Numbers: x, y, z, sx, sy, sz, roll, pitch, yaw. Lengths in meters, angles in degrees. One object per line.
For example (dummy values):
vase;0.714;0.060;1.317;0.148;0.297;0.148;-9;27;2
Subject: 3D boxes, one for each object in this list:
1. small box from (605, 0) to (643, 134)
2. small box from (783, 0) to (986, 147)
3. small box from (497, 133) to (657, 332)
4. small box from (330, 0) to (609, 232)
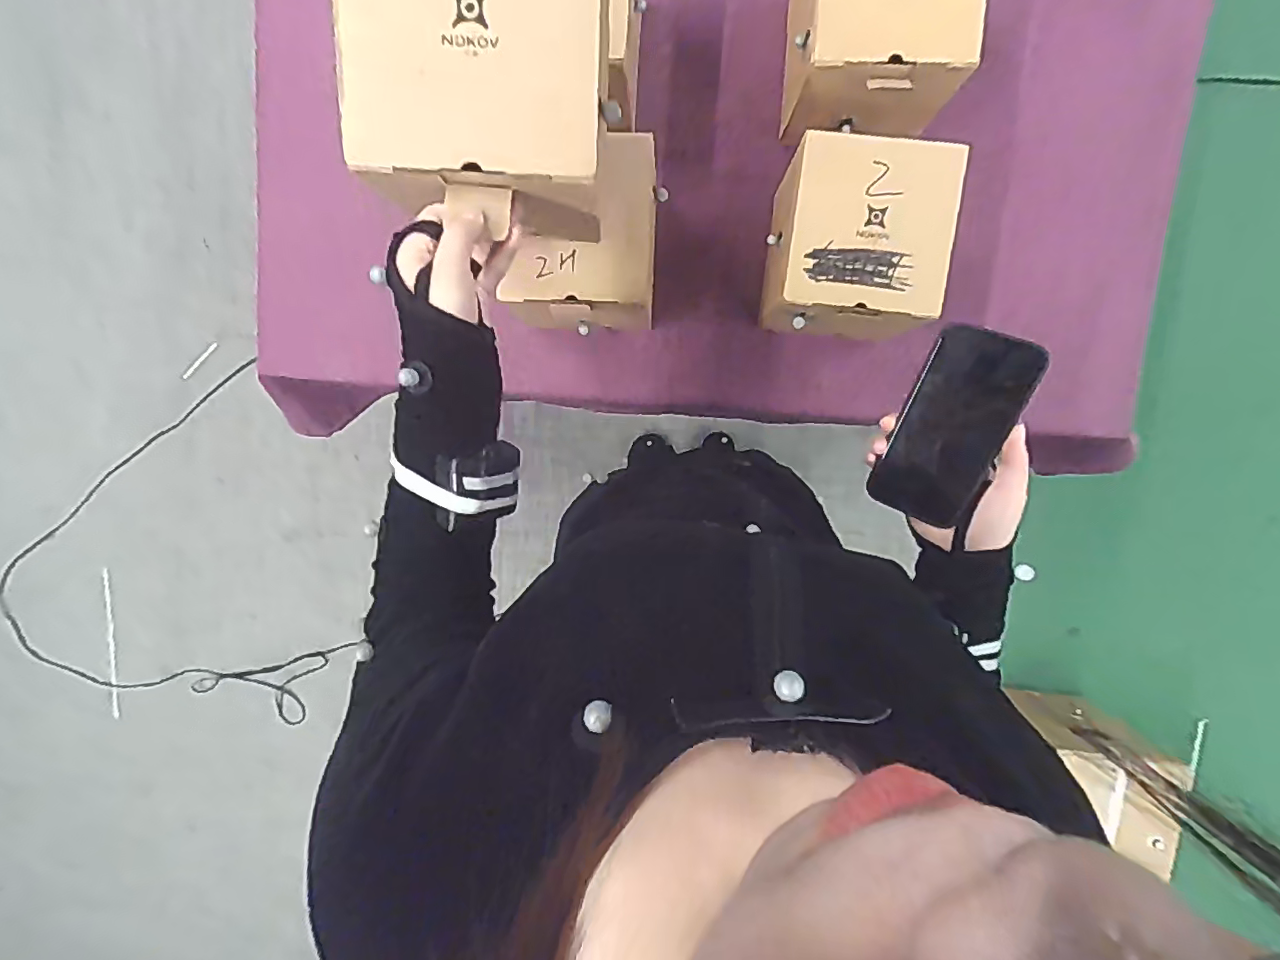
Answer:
small box;-0.085;-0.527;0.628;0.168;0.176;0.179;5;97;2
small box;0.264;-0.511;0.610;0.168;0.176;0.179;2;98;3
small box;-0.066;-0.285;0.653;0.168;0.176;0.179;2;96;3
small box;-0.111;-0.302;0.416;0.168;0.176;0.179;2;102;-2
